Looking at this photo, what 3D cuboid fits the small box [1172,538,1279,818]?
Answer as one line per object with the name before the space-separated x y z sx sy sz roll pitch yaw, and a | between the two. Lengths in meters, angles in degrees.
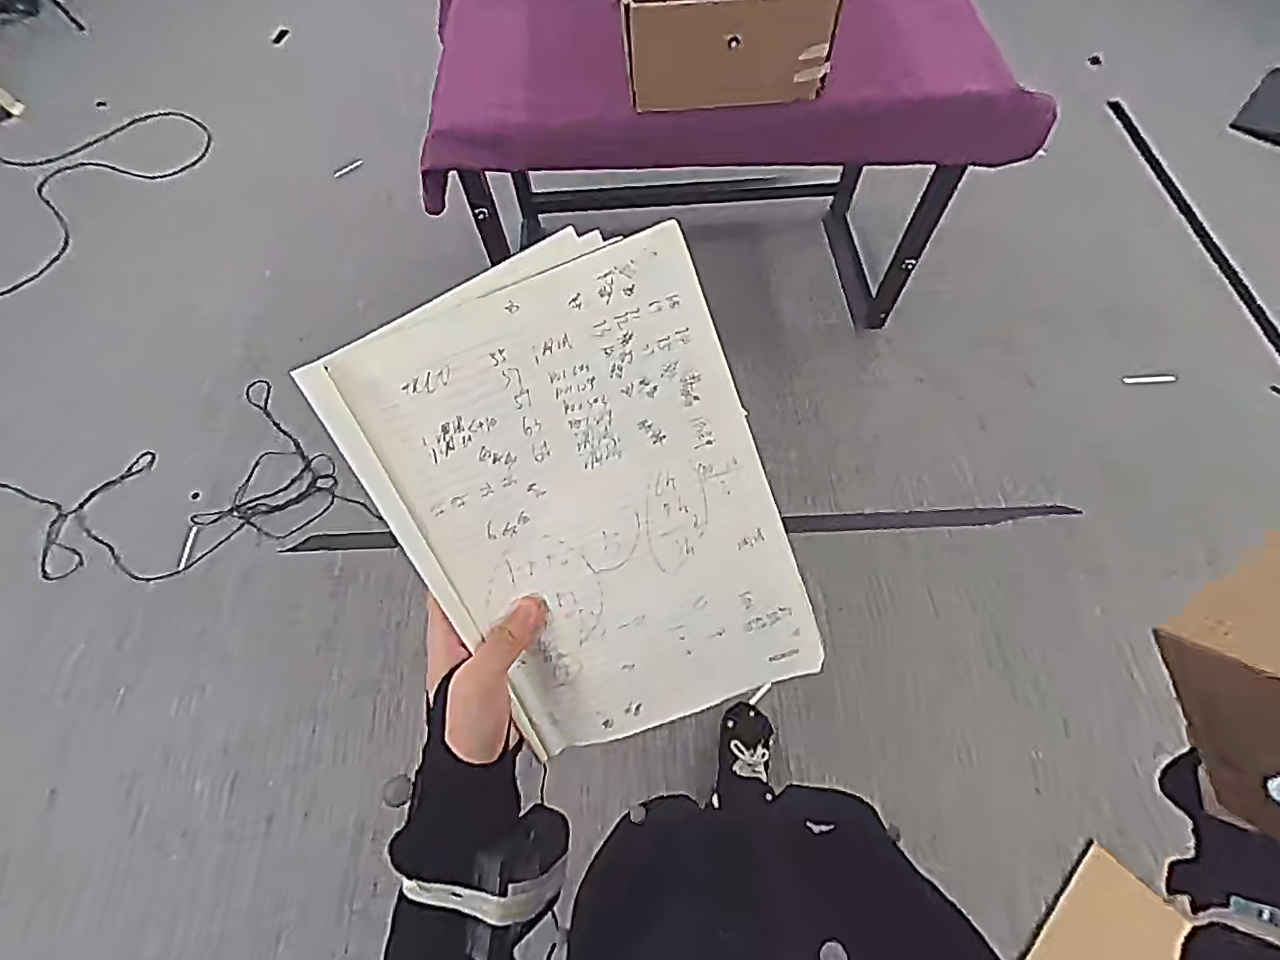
small box | 0.439 0.112 0.269 0.179 0.176 0.168 -33 104 -2
